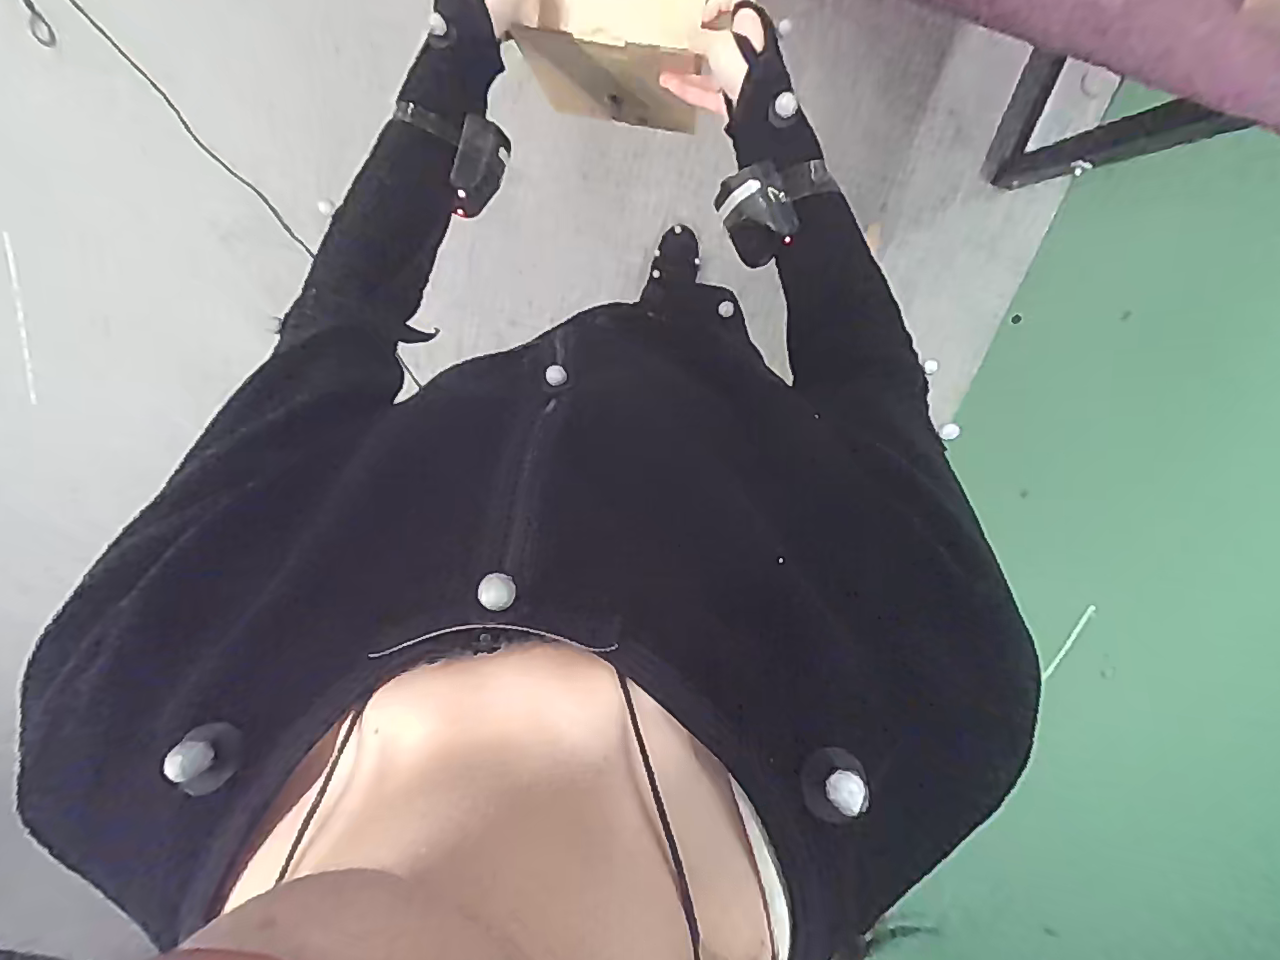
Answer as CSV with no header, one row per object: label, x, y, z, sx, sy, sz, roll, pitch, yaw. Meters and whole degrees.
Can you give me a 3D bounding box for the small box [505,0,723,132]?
small box,-0.009,-0.464,0.501,0.168,0.176,0.179,12,103,3
